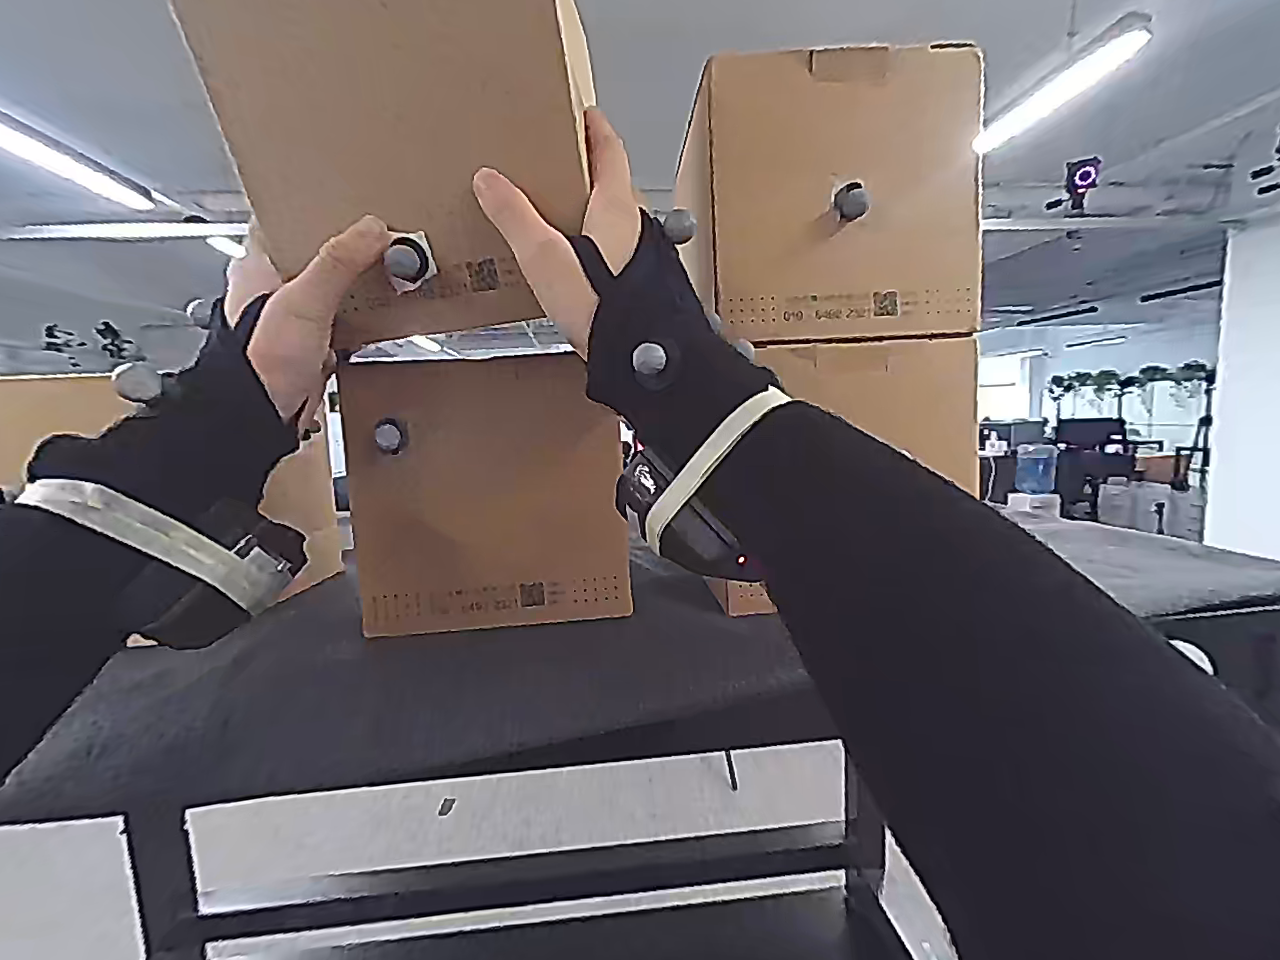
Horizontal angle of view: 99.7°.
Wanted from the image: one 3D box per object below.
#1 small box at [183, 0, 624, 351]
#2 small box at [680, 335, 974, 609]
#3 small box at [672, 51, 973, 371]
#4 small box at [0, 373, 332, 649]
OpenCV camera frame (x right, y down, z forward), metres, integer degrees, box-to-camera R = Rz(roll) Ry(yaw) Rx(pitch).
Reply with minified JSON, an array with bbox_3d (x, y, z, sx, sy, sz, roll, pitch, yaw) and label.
[{"bbox_3d":[-0.105,-0.182,0.324,0.168,0.176,0.179,-9,24,3],"label":"small box"},{"bbox_3d":[0.125,-0.009,0.421,0.168,0.176,0.179,-5,6,-4],"label":"small box"},{"bbox_3d":[0.118,-0.173,0.406,0.168,0.176,0.179,-3,6,-3],"label":"small box"},{"bbox_3d":[-0.355,0.018,0.402,0.168,0.176,0.179,-3,5,-2],"label":"small box"}]
